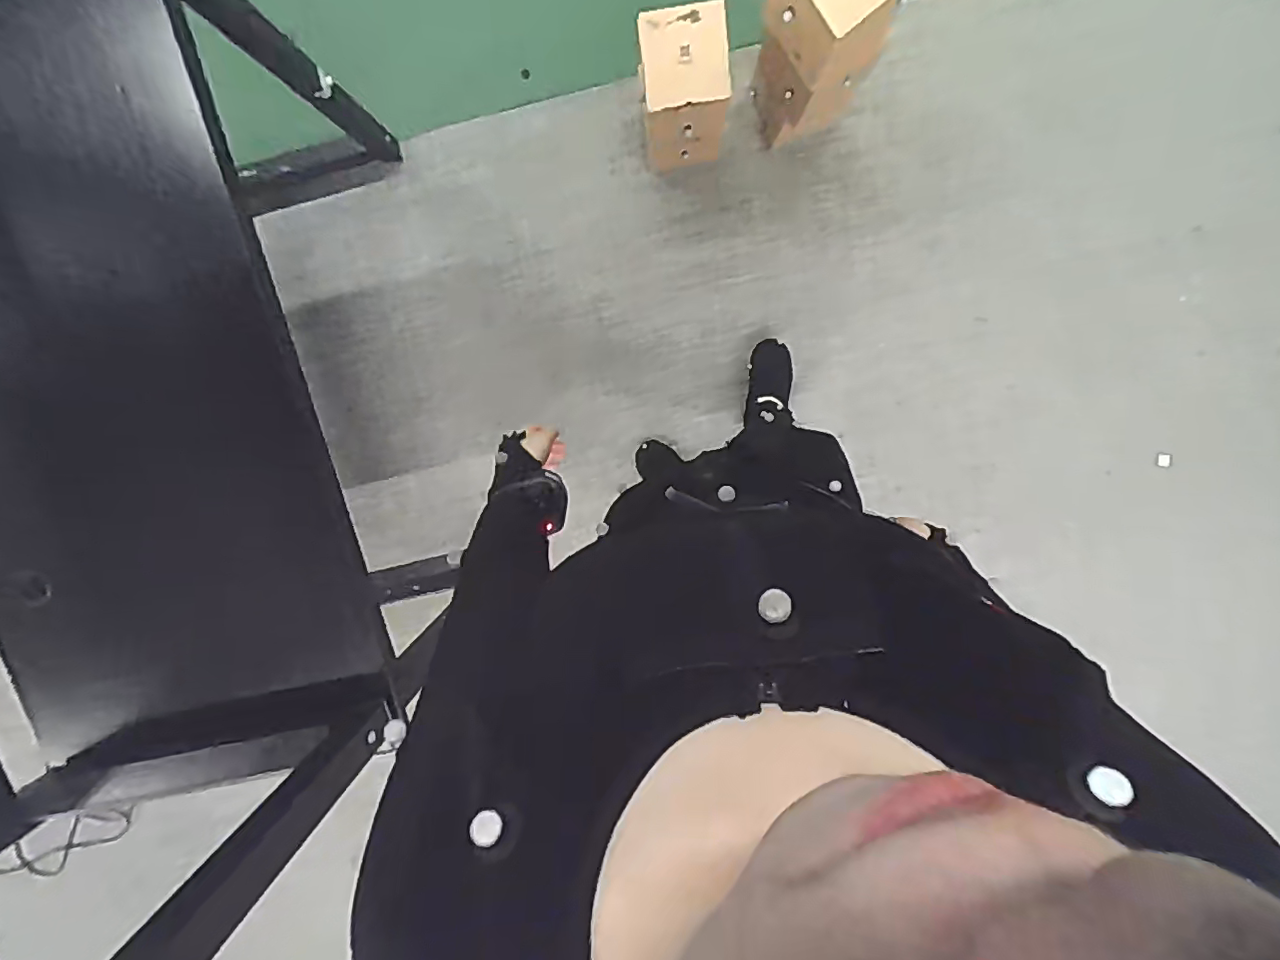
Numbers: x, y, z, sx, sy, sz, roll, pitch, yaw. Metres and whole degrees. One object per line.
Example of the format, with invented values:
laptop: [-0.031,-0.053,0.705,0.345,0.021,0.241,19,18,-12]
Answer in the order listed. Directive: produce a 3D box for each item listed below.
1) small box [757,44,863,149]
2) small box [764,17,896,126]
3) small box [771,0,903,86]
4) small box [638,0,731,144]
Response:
small box: [0.377,-0.900,1.237,0.179,0.176,0.168,-20,99,5]
small box: [0.364,-0.860,1.080,0.179,0.176,0.168,-32,99,7]
small box: [0.341,-0.832,0.920,0.179,0.176,0.168,-37,97,7]
small box: [0.091,-0.811,1.099,0.168,0.176,0.179,-6,100,4]
